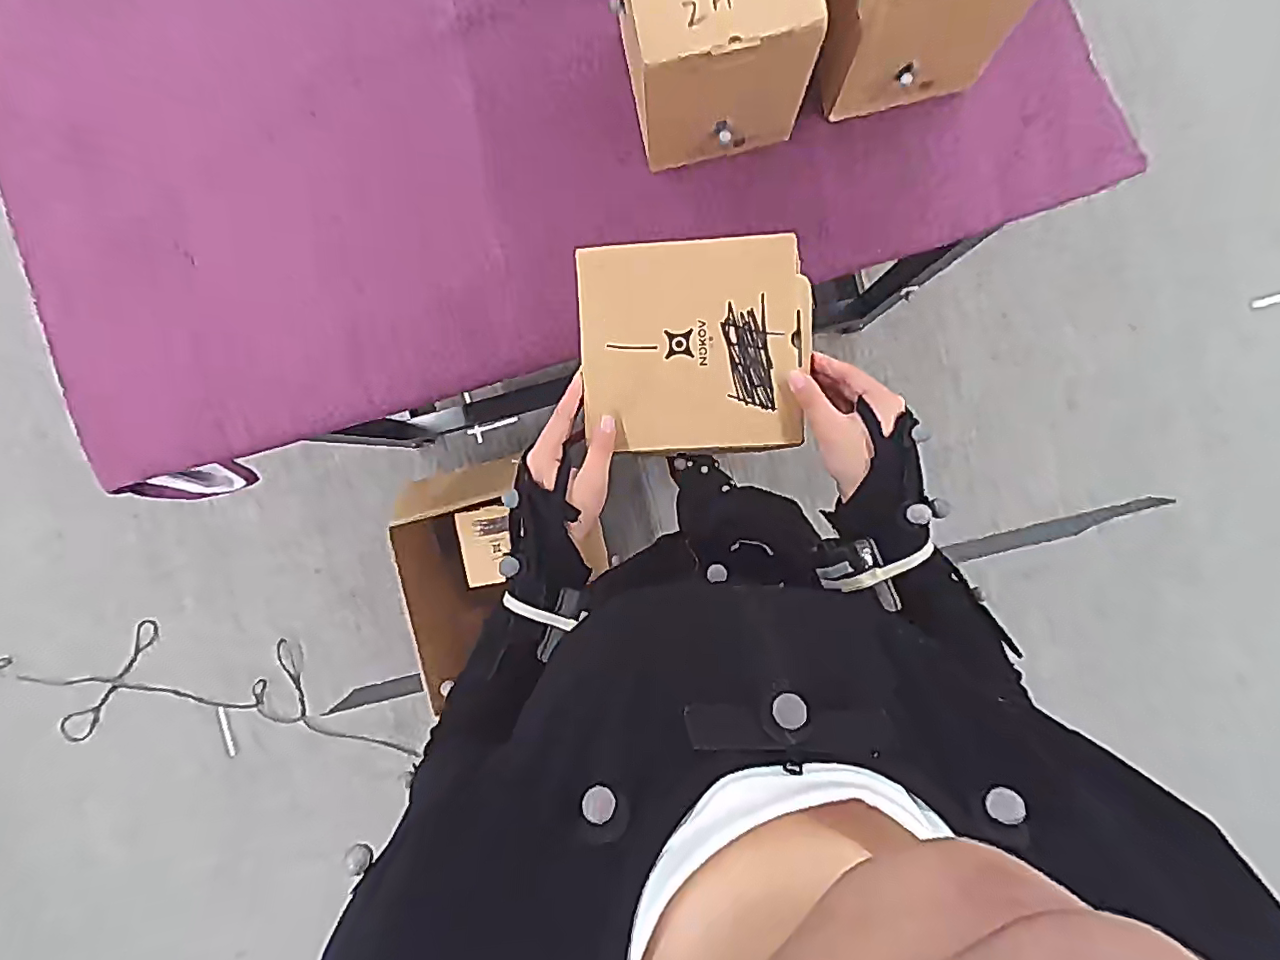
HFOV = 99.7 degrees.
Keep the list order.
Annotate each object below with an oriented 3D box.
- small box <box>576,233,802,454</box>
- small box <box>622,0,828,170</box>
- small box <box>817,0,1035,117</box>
[{"bbox_3d":[0.042,-0.110,0.506,0.179,0.176,0.168,-3,91,4],"label":"small box"},{"bbox_3d":[0.072,-0.462,0.553,0.168,0.176,0.179,-11,90,4],"label":"small box"},{"bbox_3d":[0.276,-0.516,0.541,0.168,0.176,0.179,-11,90,4],"label":"small box"}]
